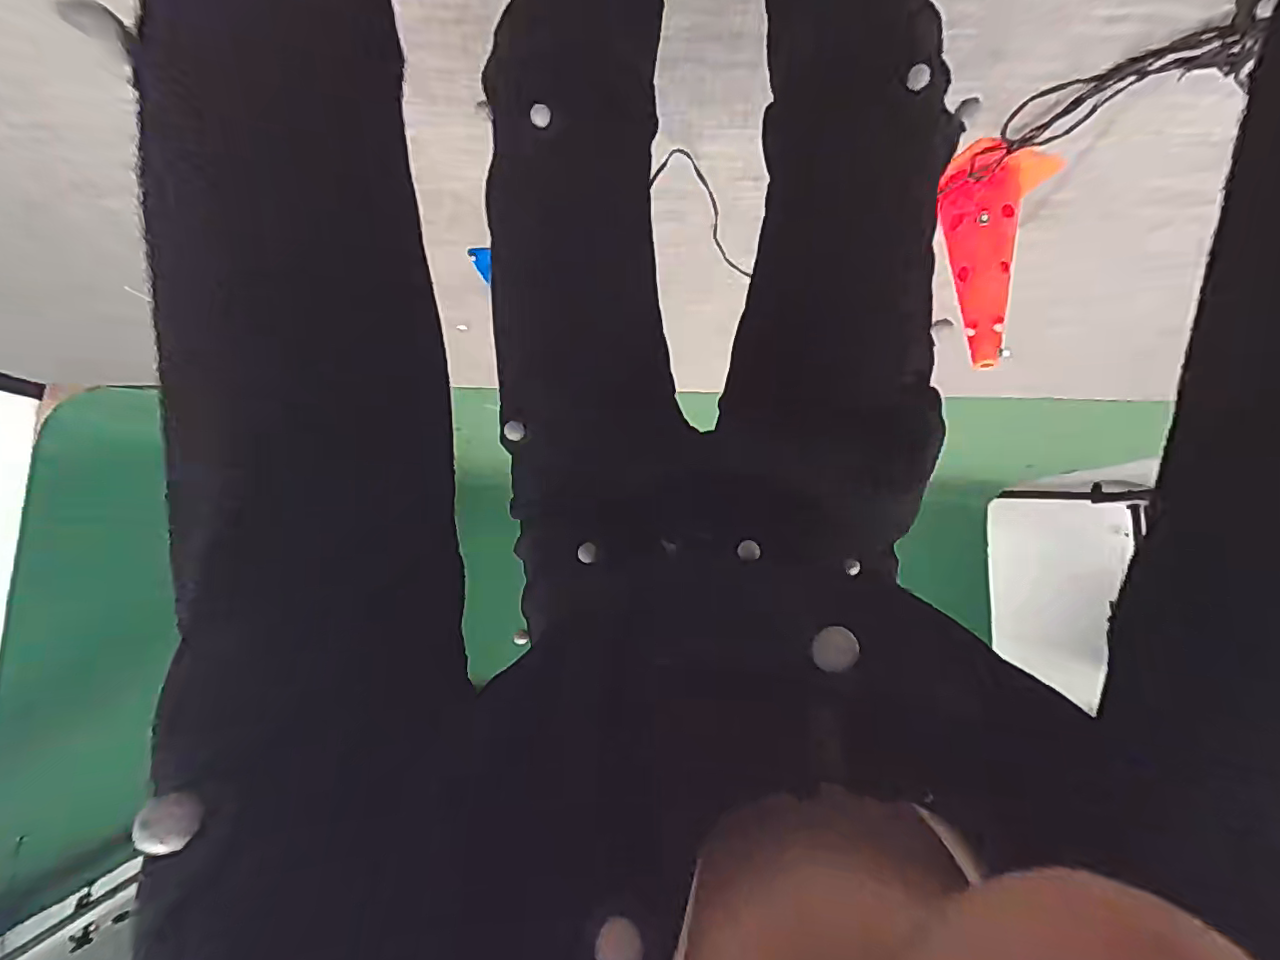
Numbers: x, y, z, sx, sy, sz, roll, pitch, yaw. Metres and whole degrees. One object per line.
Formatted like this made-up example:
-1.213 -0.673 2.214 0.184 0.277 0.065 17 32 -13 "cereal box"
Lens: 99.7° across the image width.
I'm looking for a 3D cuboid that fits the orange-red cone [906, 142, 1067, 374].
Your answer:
0.628 -0.369 0.975 0.199 0.360 0.198 3 173 -17 "orange-red cone"
